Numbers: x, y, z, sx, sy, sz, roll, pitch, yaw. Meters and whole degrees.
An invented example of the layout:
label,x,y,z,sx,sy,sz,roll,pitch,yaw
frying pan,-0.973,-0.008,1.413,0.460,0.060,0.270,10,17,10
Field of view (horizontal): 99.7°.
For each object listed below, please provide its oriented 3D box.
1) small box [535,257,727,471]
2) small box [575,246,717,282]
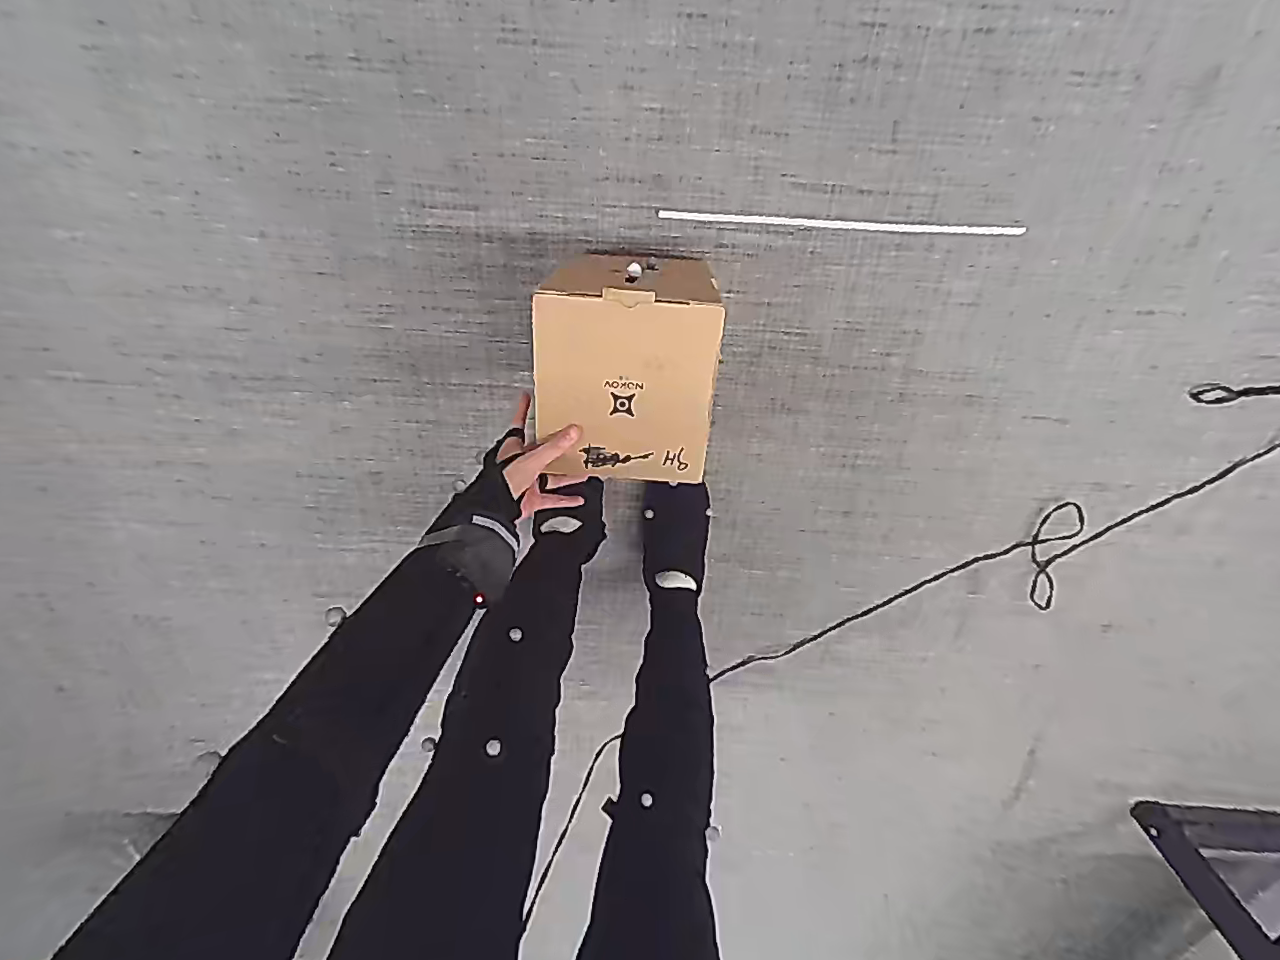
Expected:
label,x,y,z,sx,sy,sz,roll,pitch,yaw
small box,-0.013,-0.128,0.560,0.168,0.176,0.179,4,118,-1
small box,-0.003,-0.206,0.704,0.179,0.176,0.168,3,118,1
